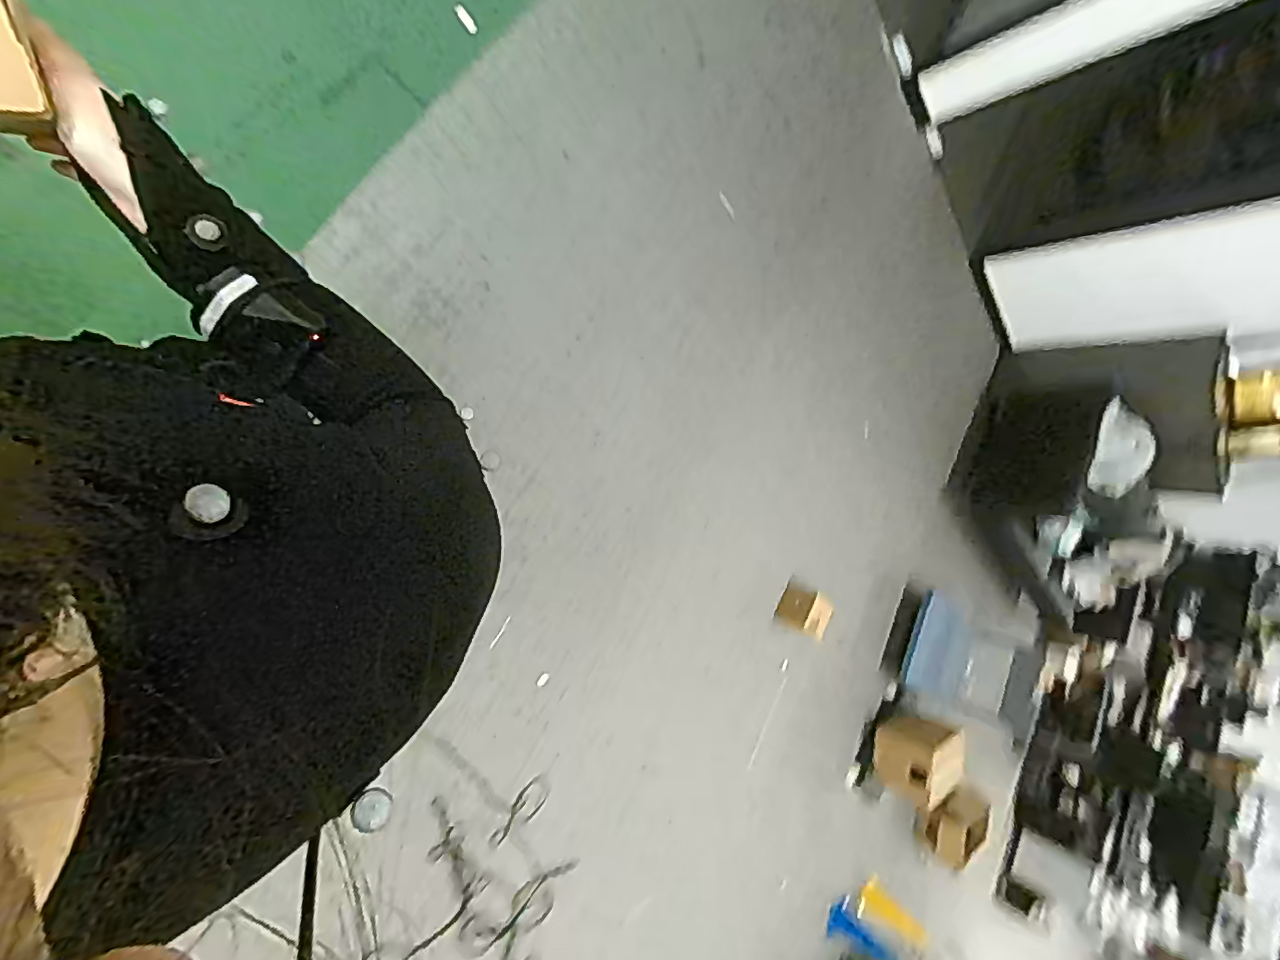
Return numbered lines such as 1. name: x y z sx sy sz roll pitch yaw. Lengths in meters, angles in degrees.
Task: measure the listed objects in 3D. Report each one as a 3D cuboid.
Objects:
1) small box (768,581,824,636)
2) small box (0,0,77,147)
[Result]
1. small box: 0.728 0.599 2.544 0.168 0.176 0.179 42 69 -35
2. small box: -0.432 -0.269 0.266 0.179 0.176 0.168 -18 124 -35
